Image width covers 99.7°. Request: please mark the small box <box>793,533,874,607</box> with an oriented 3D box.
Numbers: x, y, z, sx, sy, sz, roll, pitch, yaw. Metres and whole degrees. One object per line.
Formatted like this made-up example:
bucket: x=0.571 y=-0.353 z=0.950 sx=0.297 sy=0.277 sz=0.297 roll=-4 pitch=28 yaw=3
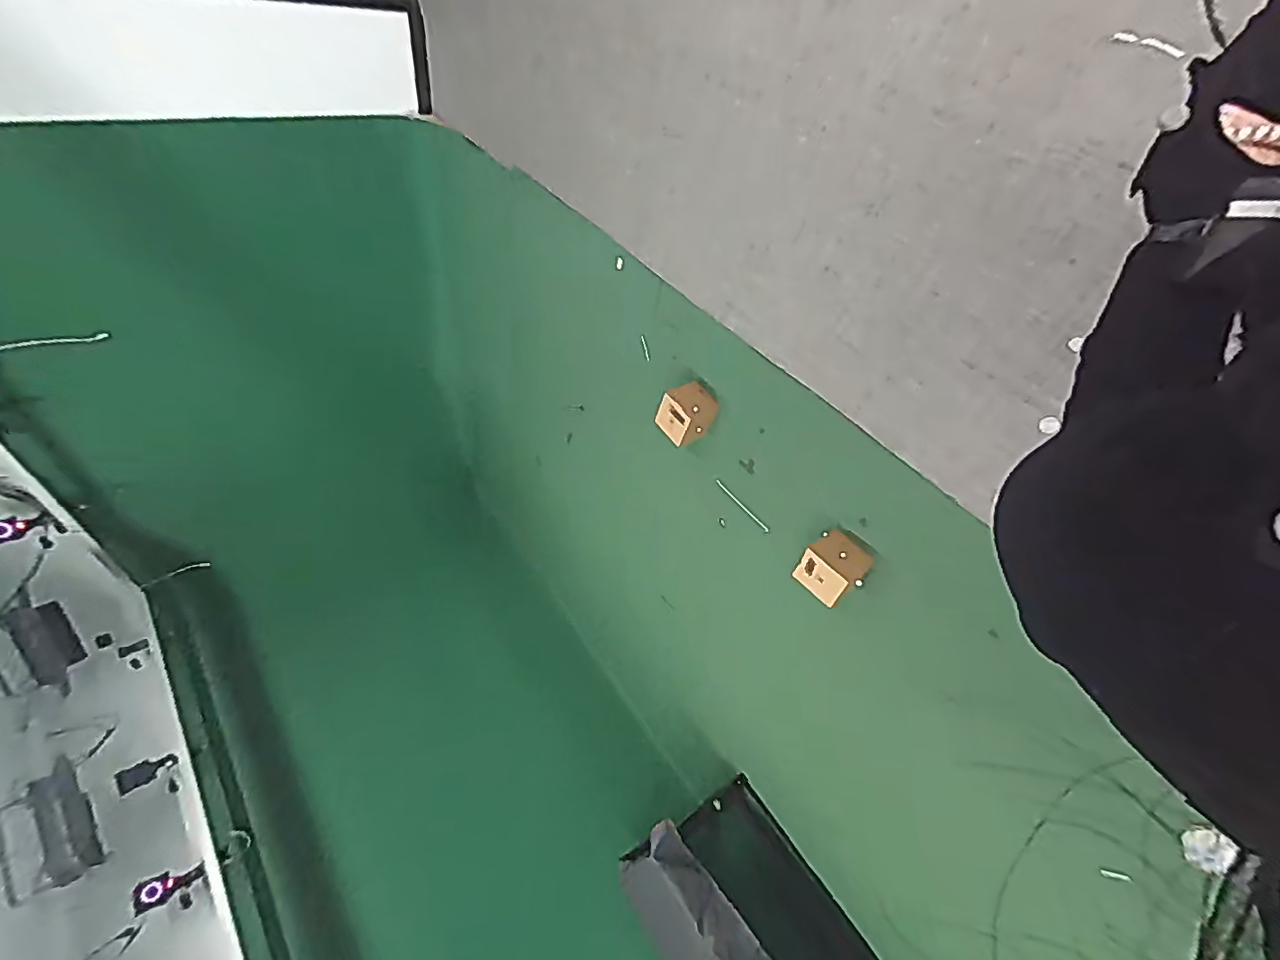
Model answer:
small box: x=0.686 y=0.309 z=1.920 sx=0.179 sy=0.176 sz=0.168 roll=44 pitch=143 yaw=28
